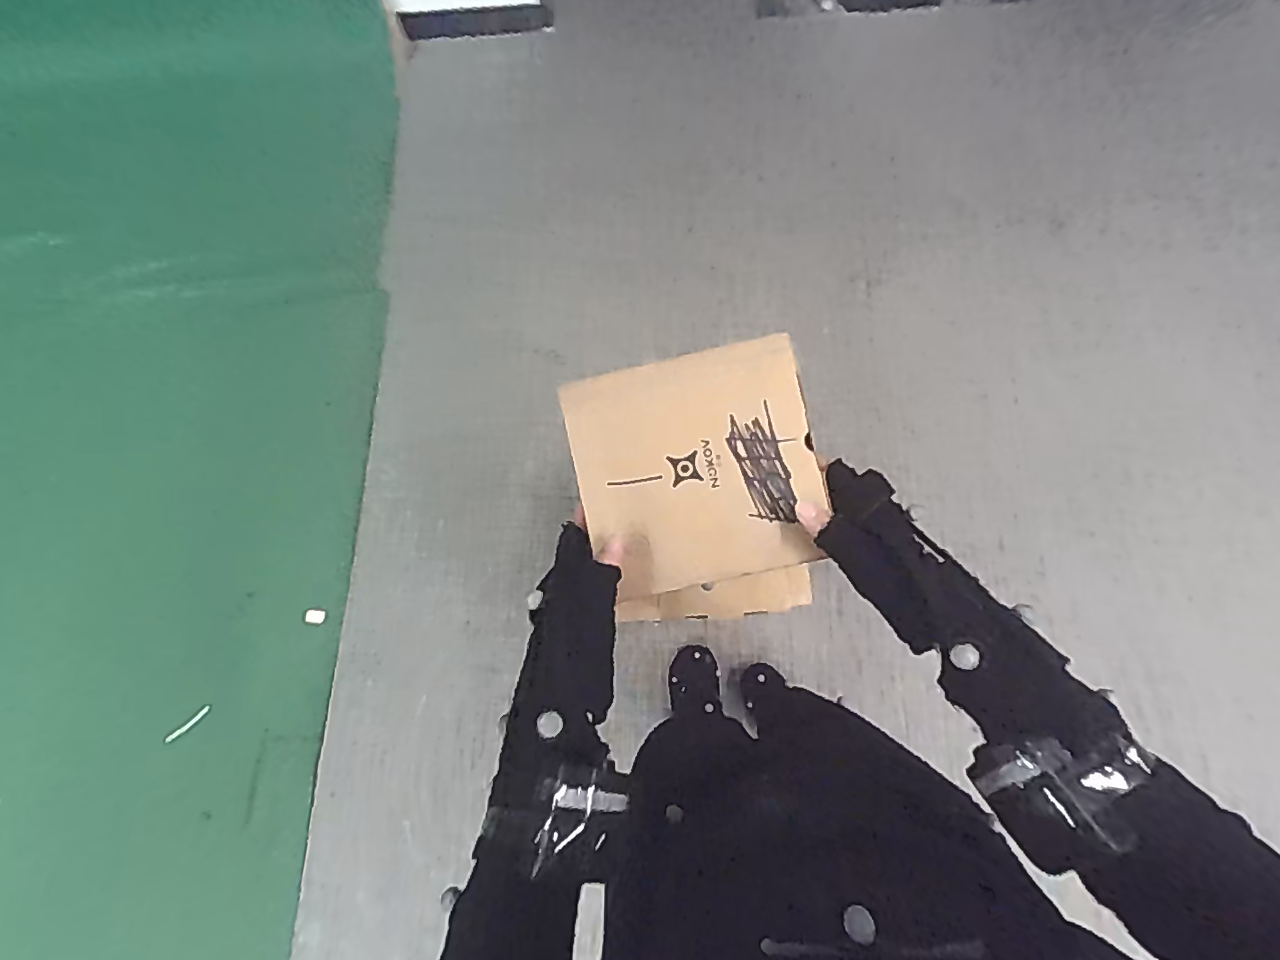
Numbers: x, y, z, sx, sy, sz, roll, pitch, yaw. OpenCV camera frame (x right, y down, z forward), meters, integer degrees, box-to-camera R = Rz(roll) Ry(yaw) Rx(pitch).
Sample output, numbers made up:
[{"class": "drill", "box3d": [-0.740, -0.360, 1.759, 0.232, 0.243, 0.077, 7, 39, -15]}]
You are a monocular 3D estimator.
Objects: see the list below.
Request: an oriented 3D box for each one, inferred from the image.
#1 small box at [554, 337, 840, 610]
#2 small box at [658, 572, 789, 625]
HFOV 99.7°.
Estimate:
[{"class": "small box", "box3d": [0.042, -0.002, 0.460, 0.179, 0.176, 0.168, -13, 87, 2]}, {"class": "small box", "box3d": [0.109, 0.107, 0.771, 0.168, 0.176, 0.179, -4, 78, 3]}]
